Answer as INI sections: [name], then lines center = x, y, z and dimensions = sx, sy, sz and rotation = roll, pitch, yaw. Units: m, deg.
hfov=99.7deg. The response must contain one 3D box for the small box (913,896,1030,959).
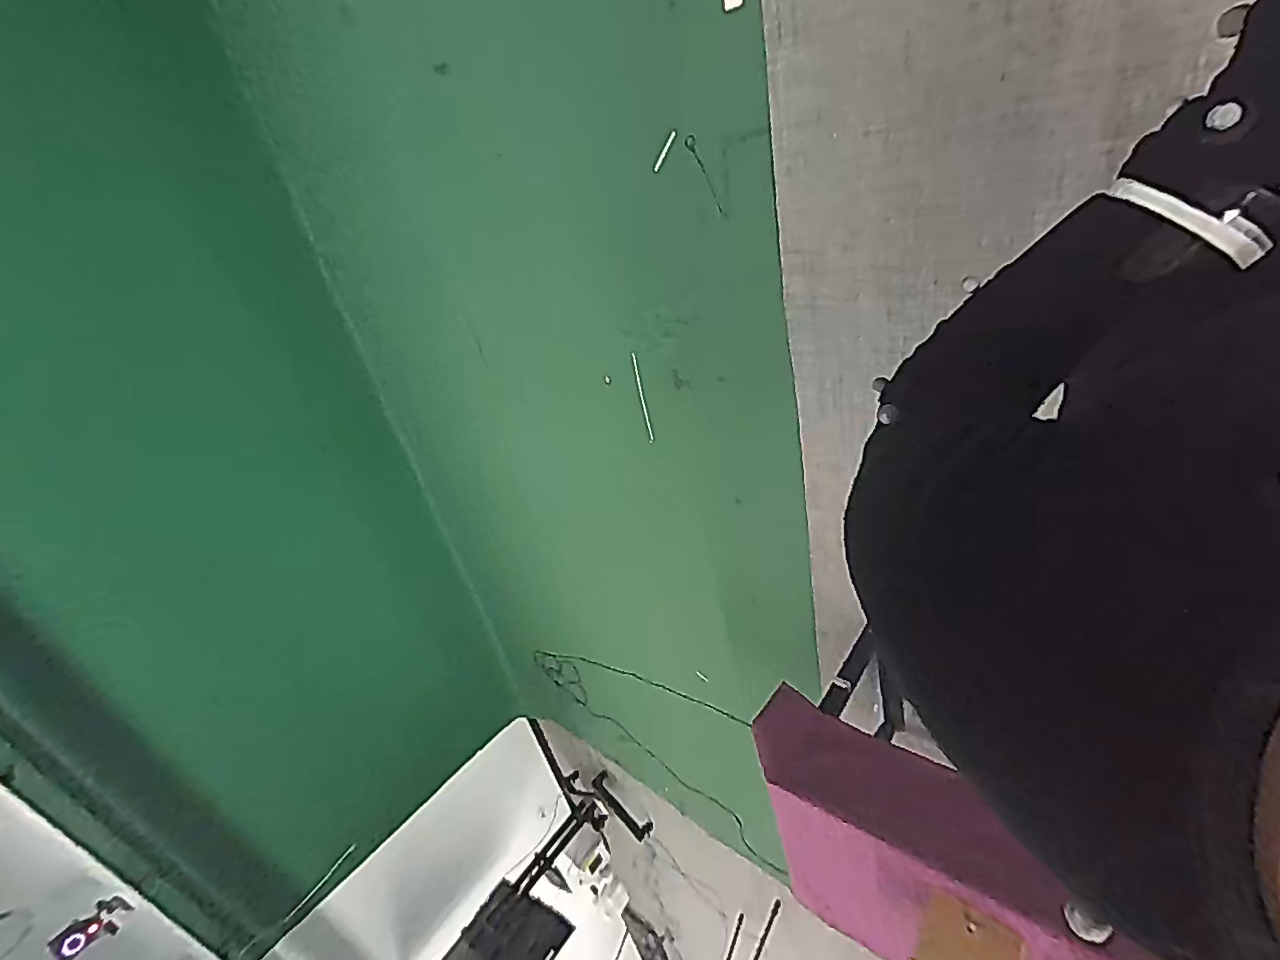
[small box]
center = 0.700, 1.038, 1.147
dimensions = 0.179, 0.176, 0.168
rotation = 11, 126, 41
